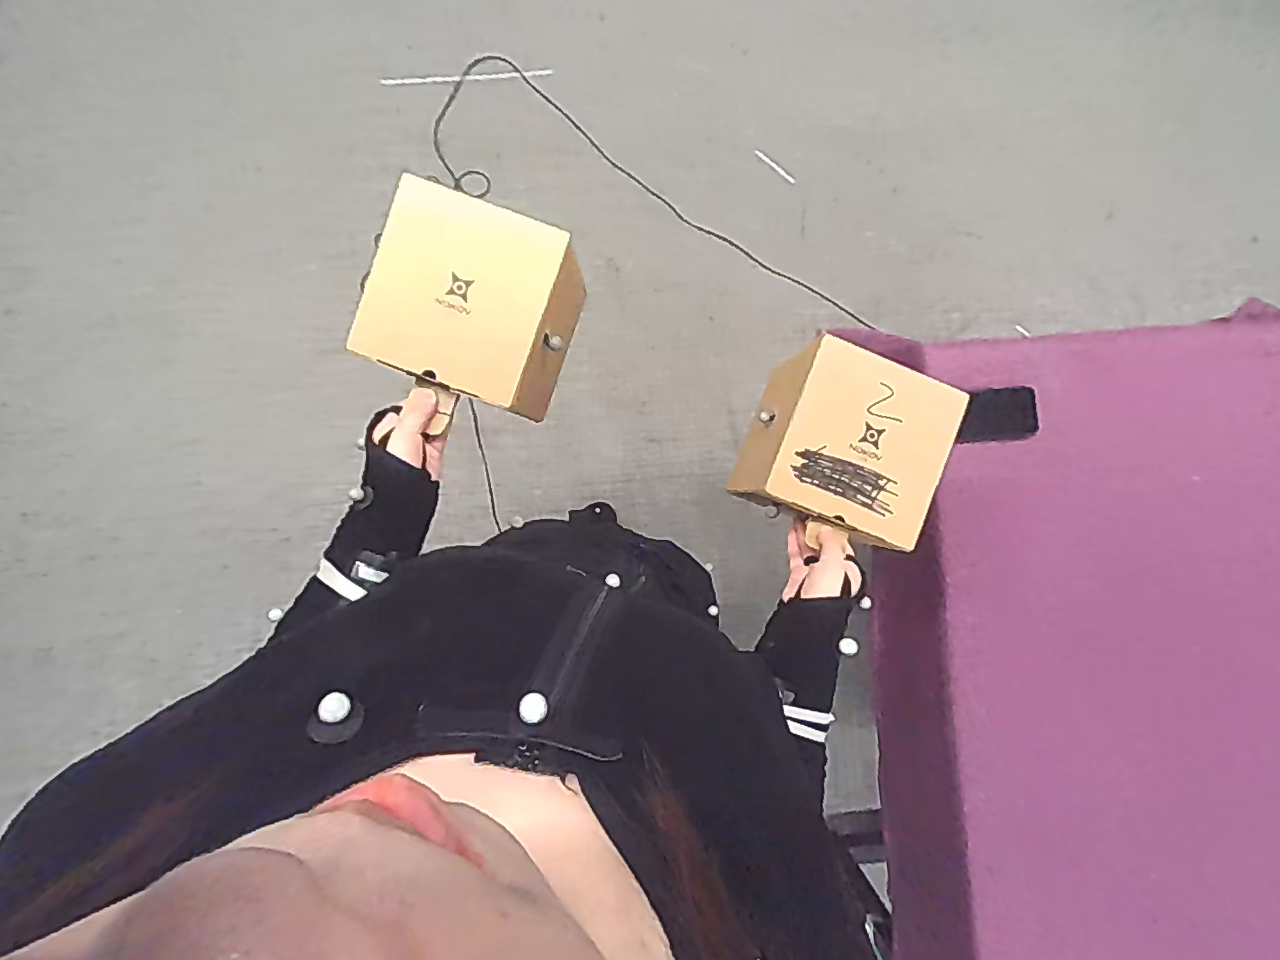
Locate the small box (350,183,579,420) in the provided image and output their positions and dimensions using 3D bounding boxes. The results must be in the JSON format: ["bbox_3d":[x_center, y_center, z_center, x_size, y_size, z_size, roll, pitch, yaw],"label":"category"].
[{"bbox_3d":[-0.172,-0.176,0.592,0.168,0.176,0.179,20,93,-1],"label":"small box"}]
